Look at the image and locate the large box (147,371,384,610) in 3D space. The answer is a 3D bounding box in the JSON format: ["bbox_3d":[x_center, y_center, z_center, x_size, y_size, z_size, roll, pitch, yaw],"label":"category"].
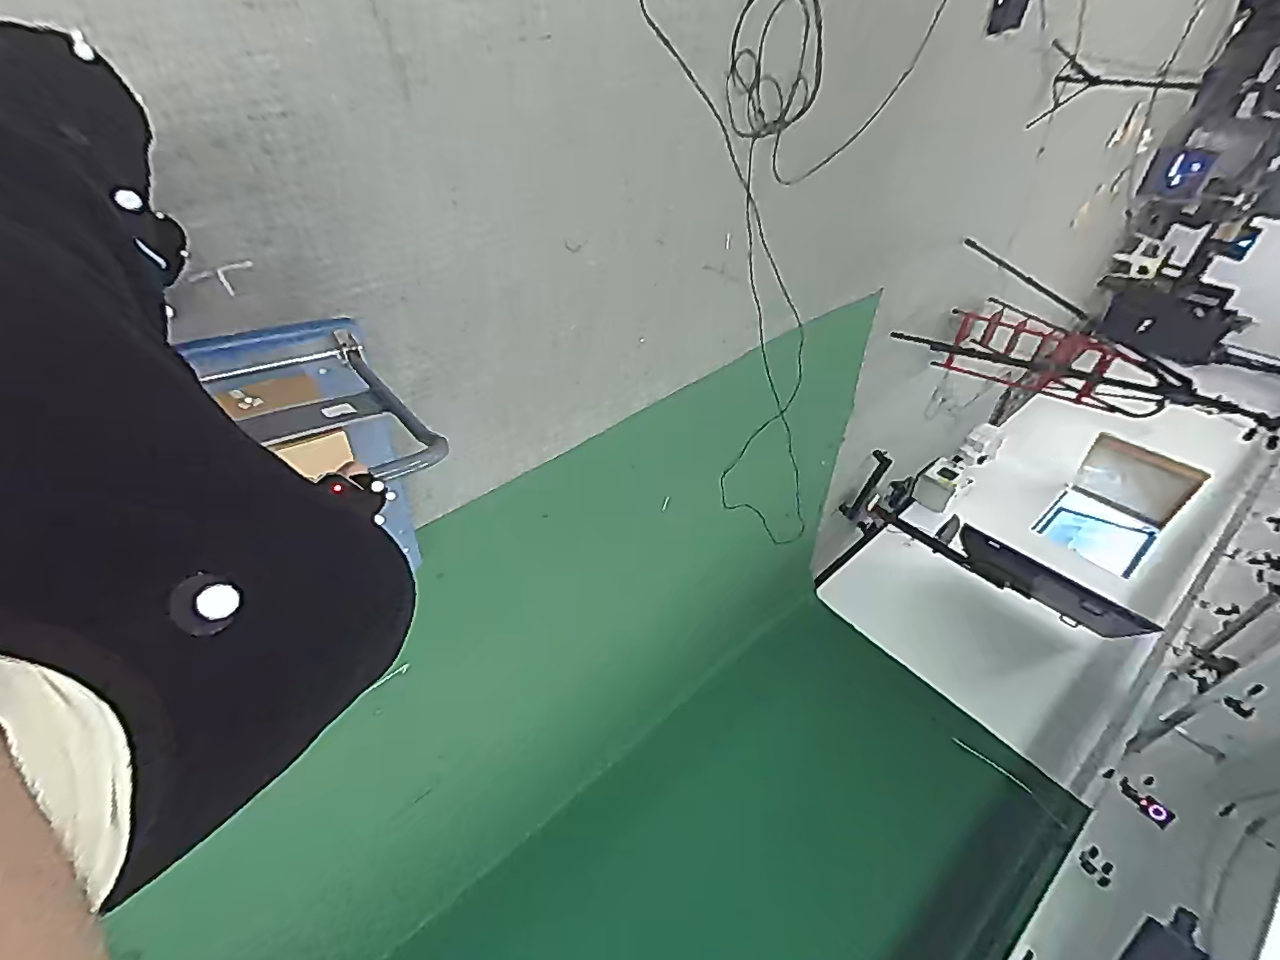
[{"bbox_3d":[-0.857,0.013,1.270,0.320,0.320,0.408,-24,136,-31],"label":"large box"}]
